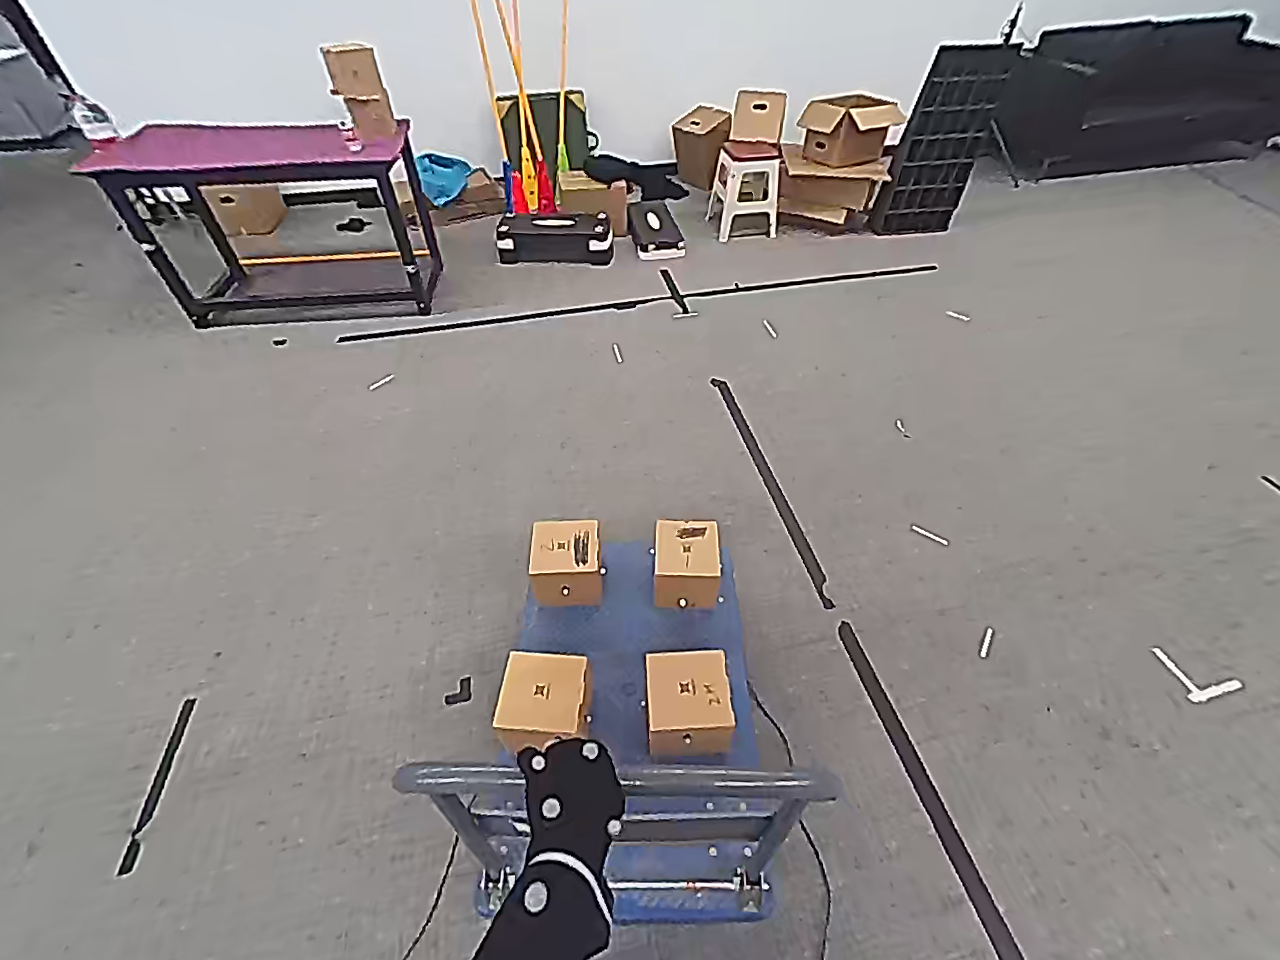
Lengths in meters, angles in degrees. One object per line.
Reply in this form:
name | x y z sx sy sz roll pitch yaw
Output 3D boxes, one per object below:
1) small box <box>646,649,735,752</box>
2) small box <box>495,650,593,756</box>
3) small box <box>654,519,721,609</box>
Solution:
small box | 0.105 0.494 1.203 0.179 0.176 0.168 -2 47 -1
small box | -0.204 0.498 1.201 0.179 0.176 0.168 4 46 1
small box | 0.123 0.226 1.455 0.168 0.176 0.179 1 48 2
